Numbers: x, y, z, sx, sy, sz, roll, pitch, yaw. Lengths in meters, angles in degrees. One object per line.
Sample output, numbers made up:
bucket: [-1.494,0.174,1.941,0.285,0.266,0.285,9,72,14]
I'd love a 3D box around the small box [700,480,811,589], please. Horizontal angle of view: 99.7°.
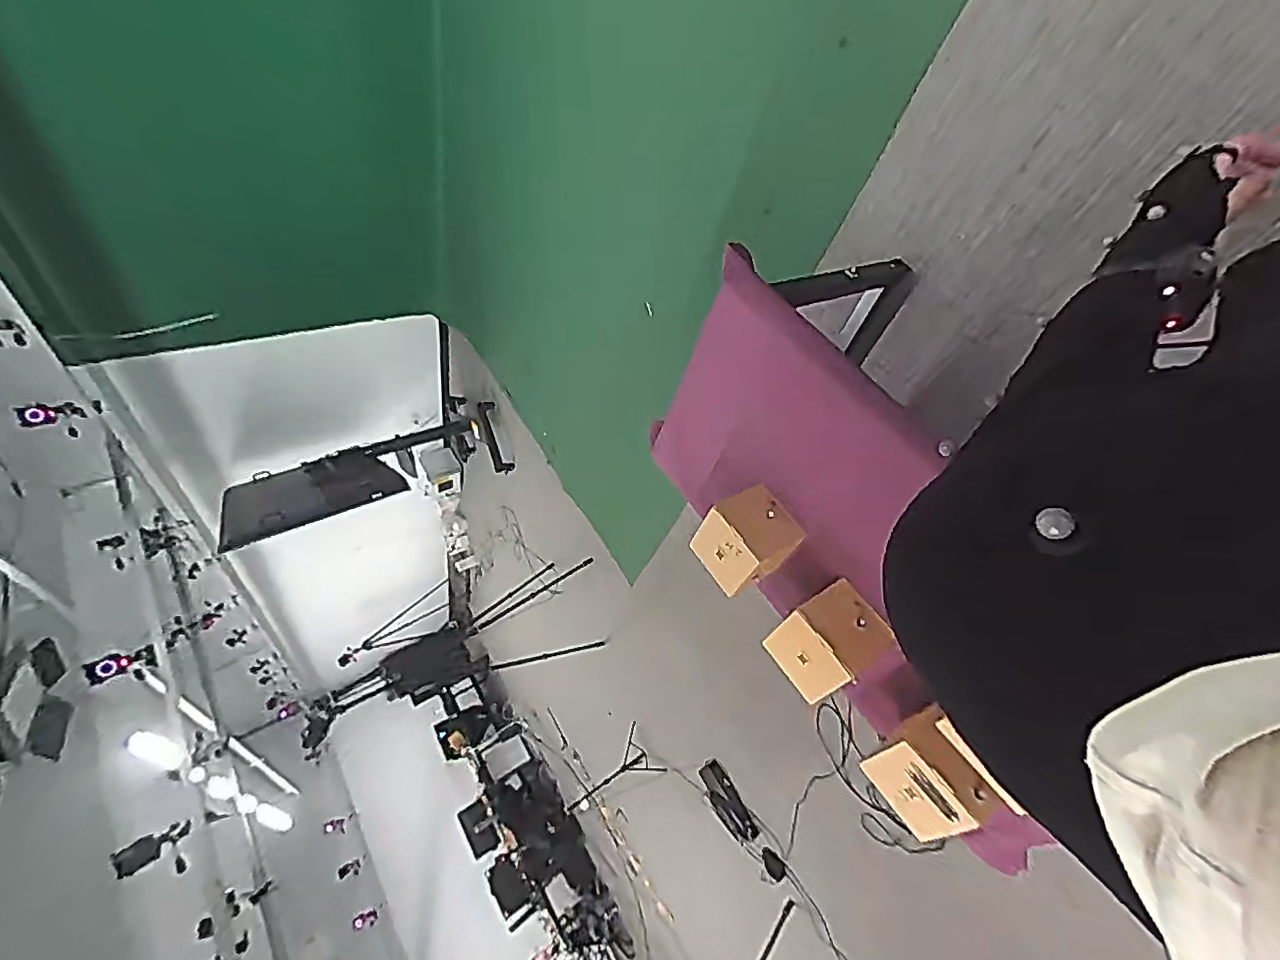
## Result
small box: [0.279,0.129,1.309,0.168,0.176,0.179,53,145,24]

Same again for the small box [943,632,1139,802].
small box: [0.649,0.378,0.876,0.168,0.176,0.179,51,148,27]

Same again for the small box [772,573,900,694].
small box: [0.434,0.338,1.200,0.168,0.176,0.179,52,145,25]
